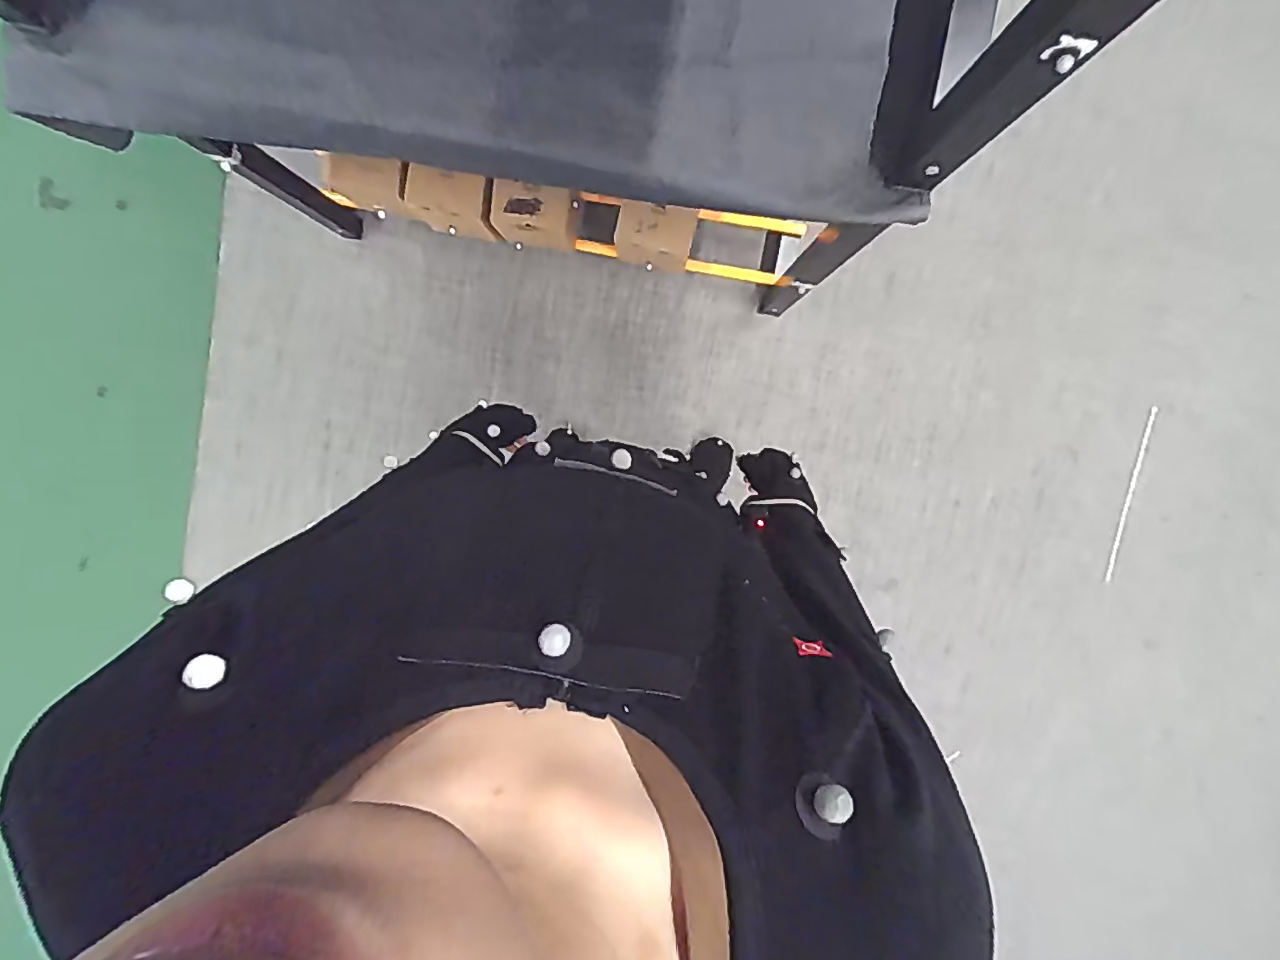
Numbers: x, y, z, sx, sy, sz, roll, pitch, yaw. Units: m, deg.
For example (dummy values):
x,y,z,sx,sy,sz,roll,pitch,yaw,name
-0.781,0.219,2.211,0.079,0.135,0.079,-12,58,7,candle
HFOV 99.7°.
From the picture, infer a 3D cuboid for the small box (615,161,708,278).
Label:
x,y,z,sx,sy,sz,roll,pitch,yaw,name
0.047,-0.587,1.240,0.168,0.176,0.179,15,98,0,small box
